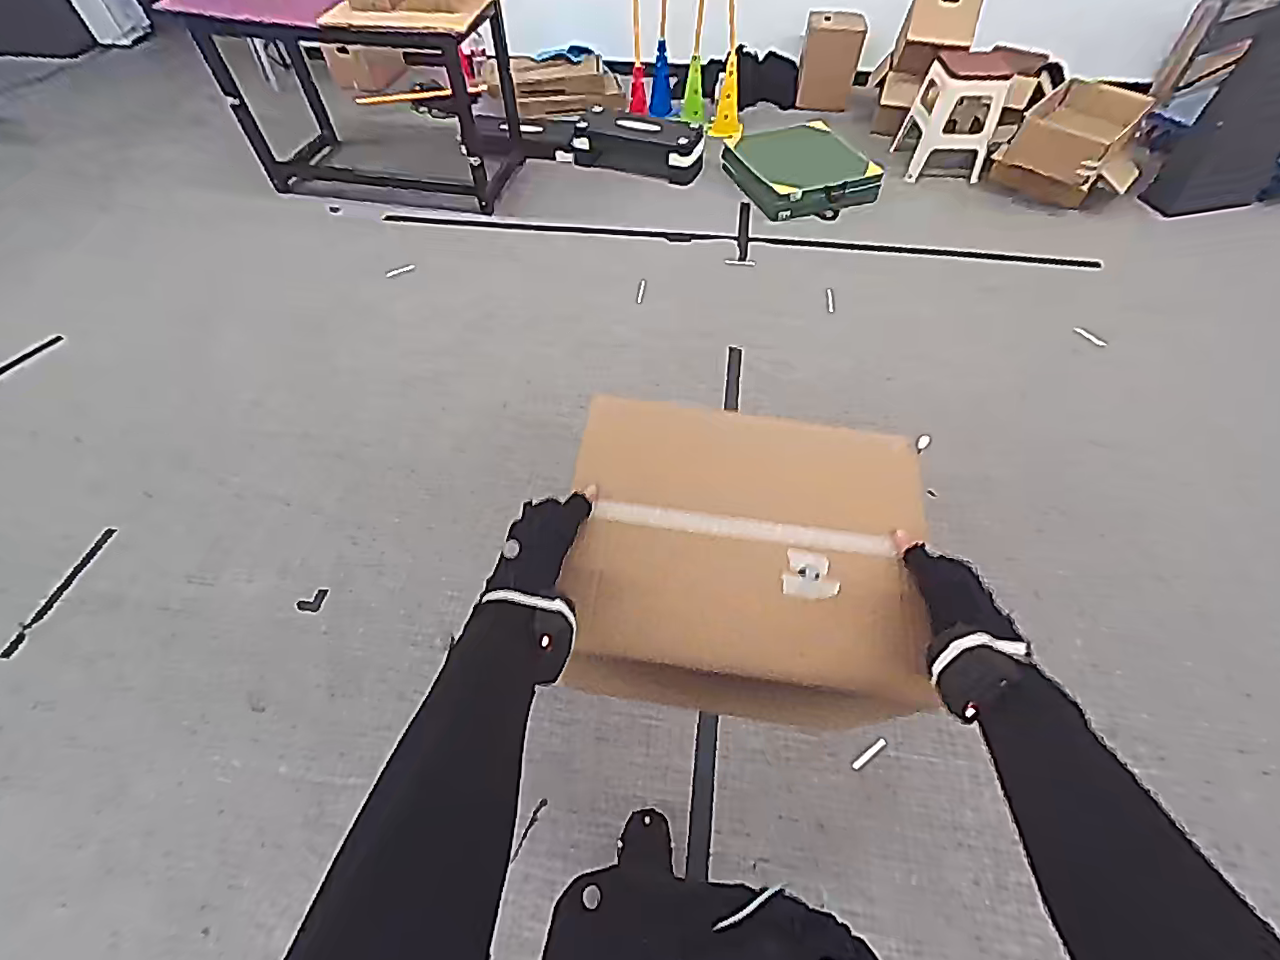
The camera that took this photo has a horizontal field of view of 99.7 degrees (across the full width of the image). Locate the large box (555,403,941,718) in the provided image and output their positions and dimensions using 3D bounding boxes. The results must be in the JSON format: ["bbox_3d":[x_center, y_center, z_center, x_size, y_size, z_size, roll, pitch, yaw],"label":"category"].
[{"bbox_3d":[0.118,0.127,0.748,0.408,0.320,0.320,8,62,2],"label":"large box"}]
